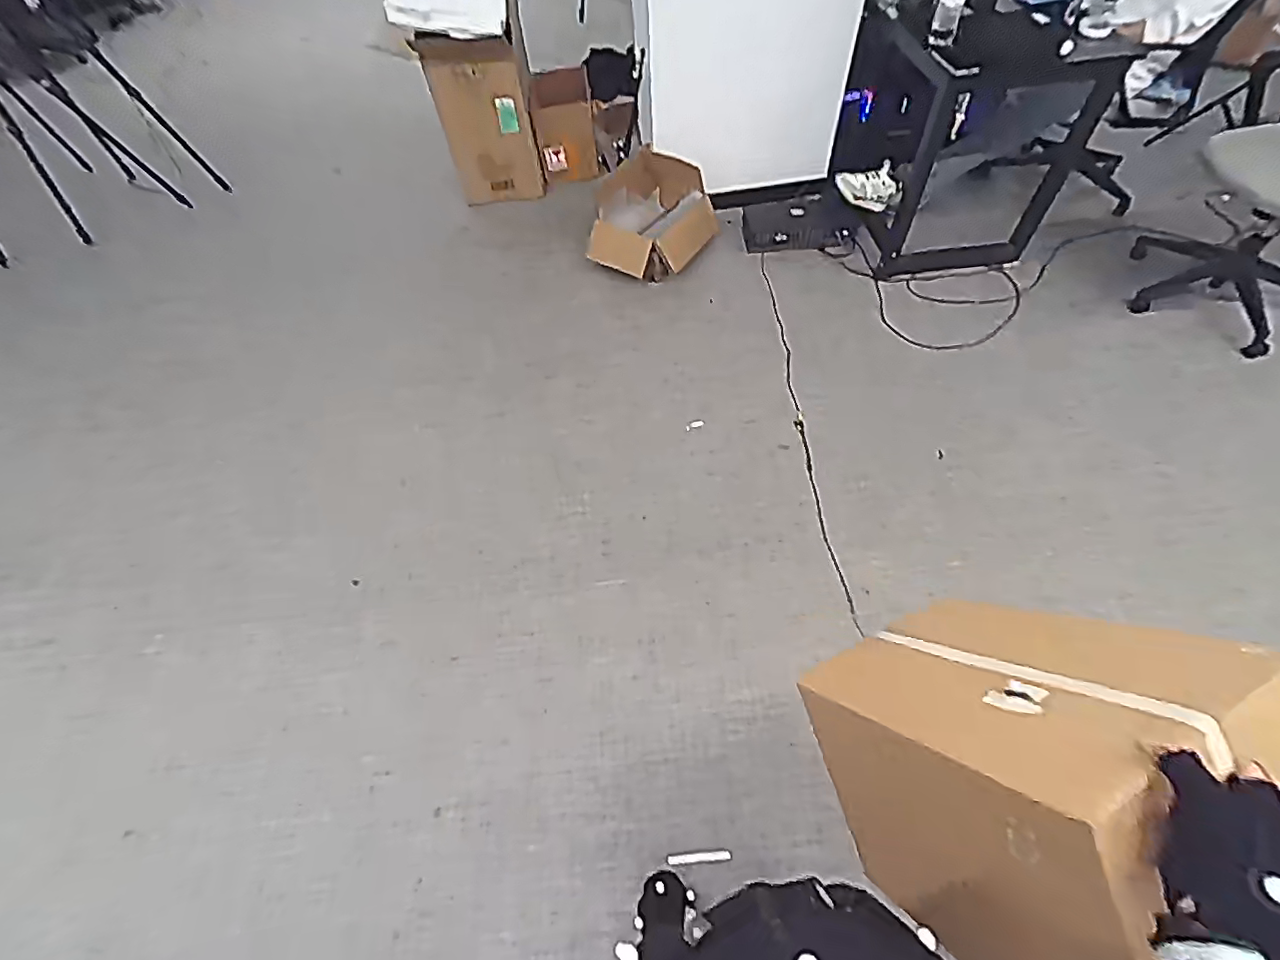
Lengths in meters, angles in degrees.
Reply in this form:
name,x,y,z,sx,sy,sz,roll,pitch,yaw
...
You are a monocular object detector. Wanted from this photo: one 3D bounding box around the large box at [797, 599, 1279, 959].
name,x,y,z,sx,sy,sz,roll,pitch,yaw
large box,0.469,0.369,0.655,0.320,0.408,0.320,-21,92,-16
